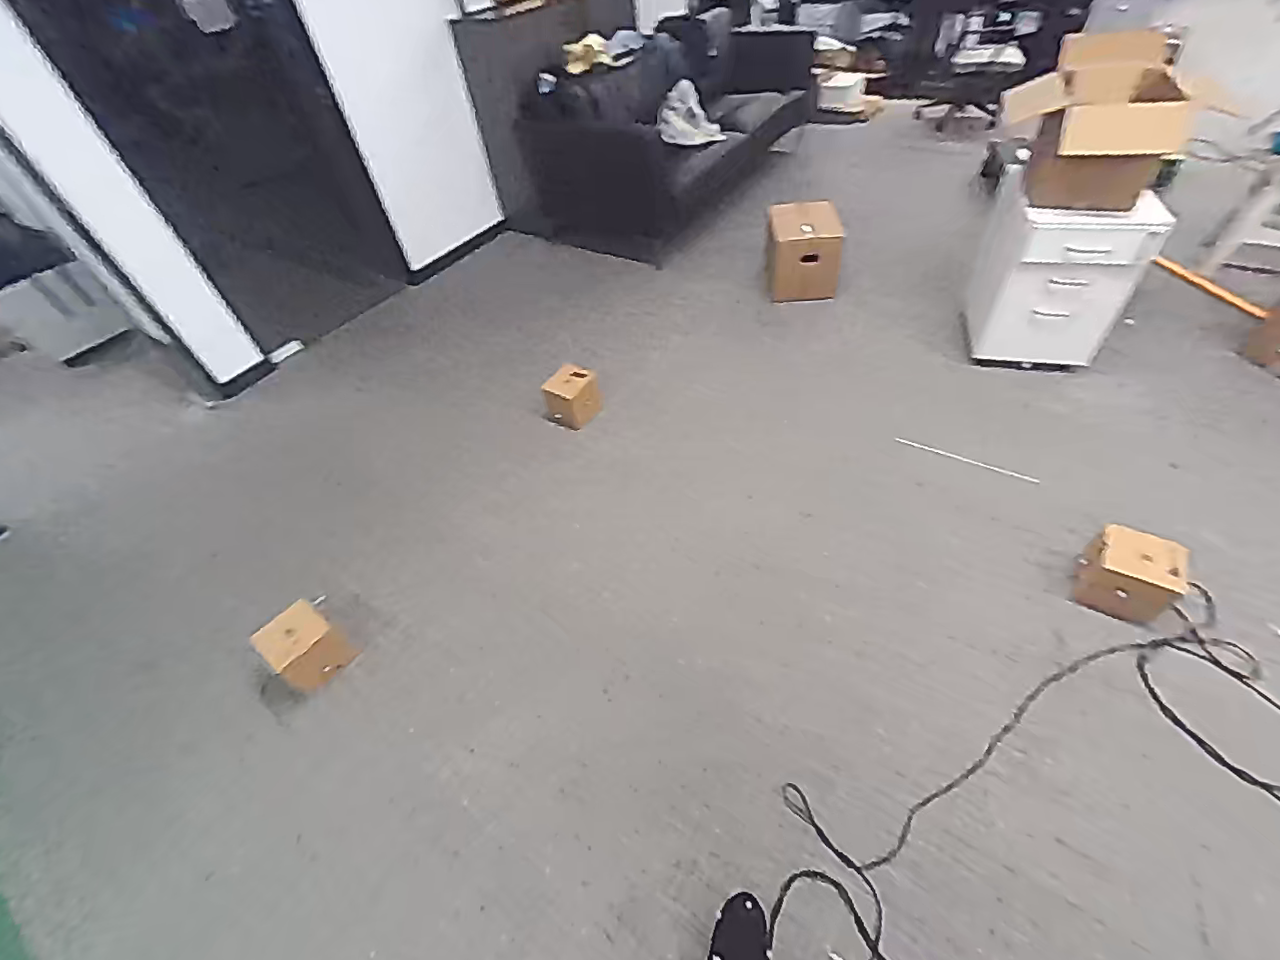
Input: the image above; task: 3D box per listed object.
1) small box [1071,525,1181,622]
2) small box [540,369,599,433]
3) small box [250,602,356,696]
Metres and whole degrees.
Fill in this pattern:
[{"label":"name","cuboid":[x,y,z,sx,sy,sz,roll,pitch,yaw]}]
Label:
[{"label":"small box","cuboid":[1.317,0.259,1.475,0.179,0.176,0.168,20,54,25]},{"label":"small box","cuboid":[-0.286,-0.328,2.253,0.168,0.176,0.179,24,55,26]},{"label":"small box","cuboid":[-0.977,0.497,1.578,0.179,0.176,0.168,28,57,29]}]
